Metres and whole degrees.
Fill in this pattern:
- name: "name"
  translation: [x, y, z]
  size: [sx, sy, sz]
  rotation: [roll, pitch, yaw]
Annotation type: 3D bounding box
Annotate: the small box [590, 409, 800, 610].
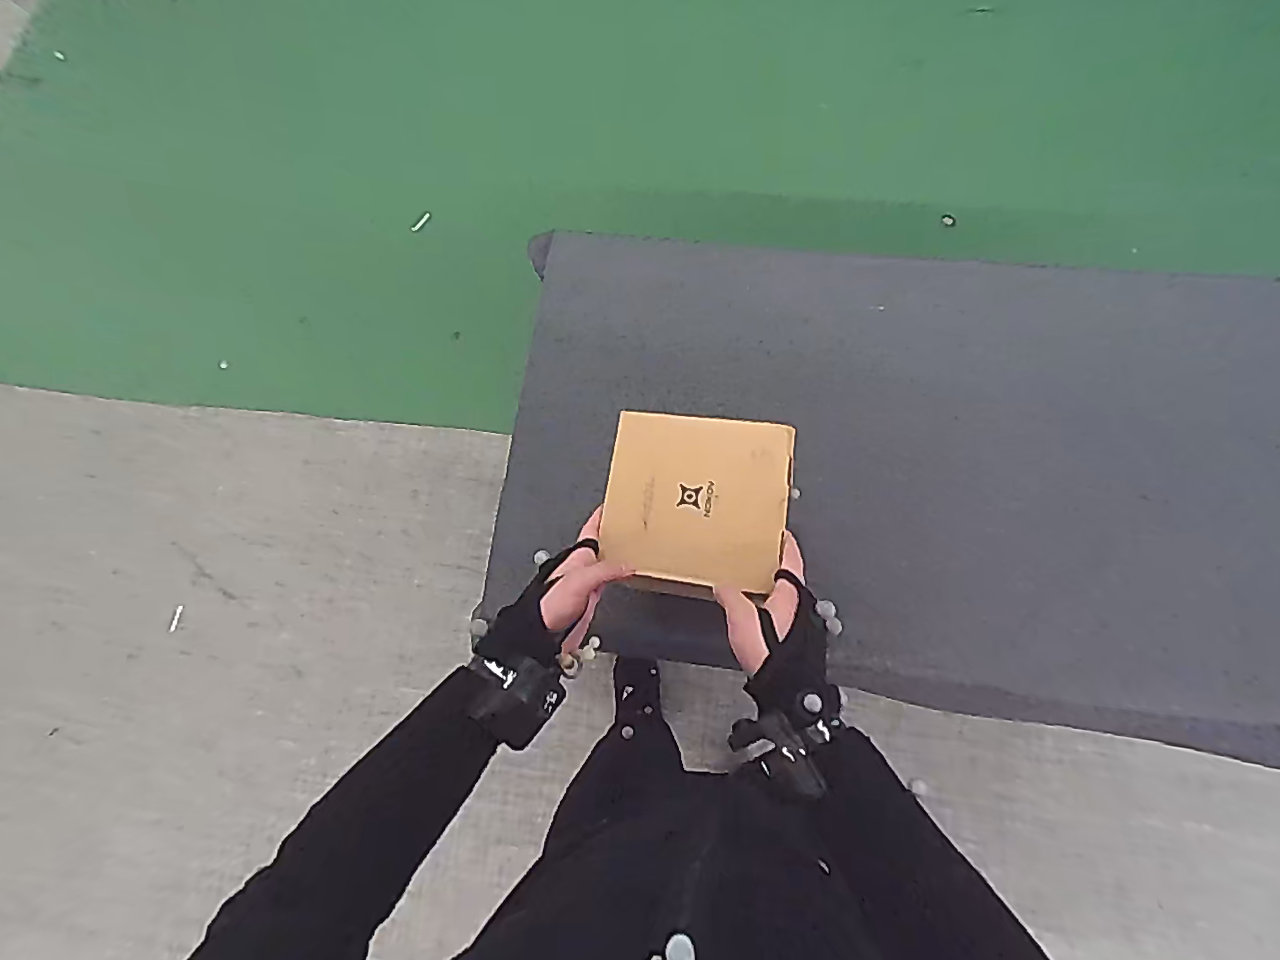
- name: "small box"
  translation: [0.065, 0.041, 0.582]
  size: [0.179, 0.176, 0.168]
  rotation: [8, 73, 13]
